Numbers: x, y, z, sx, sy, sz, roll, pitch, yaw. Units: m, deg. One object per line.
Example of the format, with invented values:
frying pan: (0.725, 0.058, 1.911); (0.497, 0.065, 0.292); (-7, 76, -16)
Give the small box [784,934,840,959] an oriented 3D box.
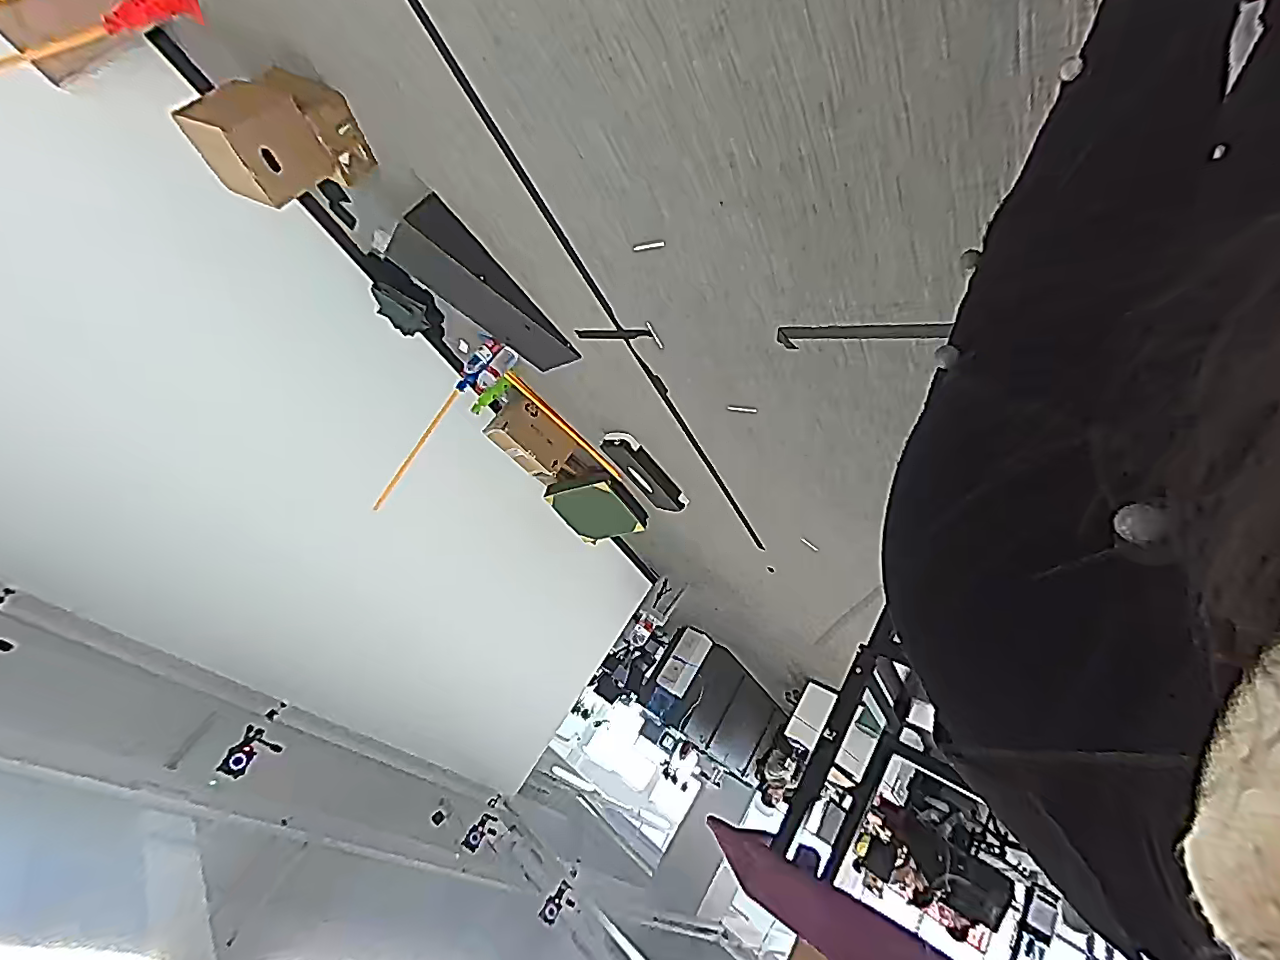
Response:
small box: (0.453, 1.297, 1.369); (0.179, 0.176, 0.168); (17, 154, 43)
